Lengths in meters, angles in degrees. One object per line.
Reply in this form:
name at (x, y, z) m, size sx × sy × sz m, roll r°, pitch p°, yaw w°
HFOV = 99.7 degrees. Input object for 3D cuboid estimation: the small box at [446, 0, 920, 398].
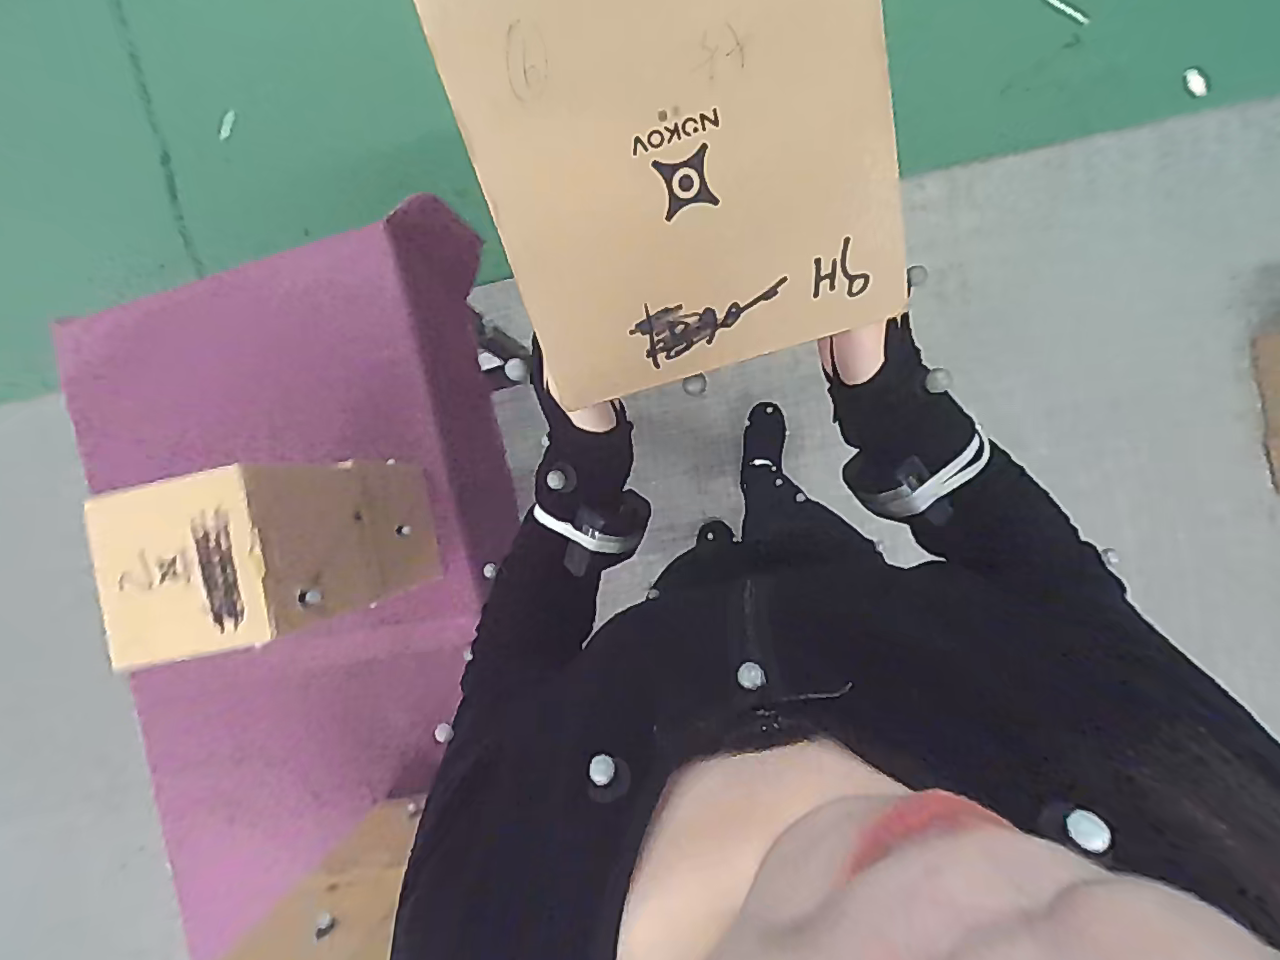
small box at (0.025, -0.163, 0.291) m, size 0.168 × 0.176 × 0.179 m, roll -14°, pitch 112°, yaw 8°

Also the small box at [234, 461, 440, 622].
small box at (-0.401, 0.076, 0.742) m, size 0.168 × 0.176 × 0.179 m, roll -12°, pitch 90°, yaw 7°
